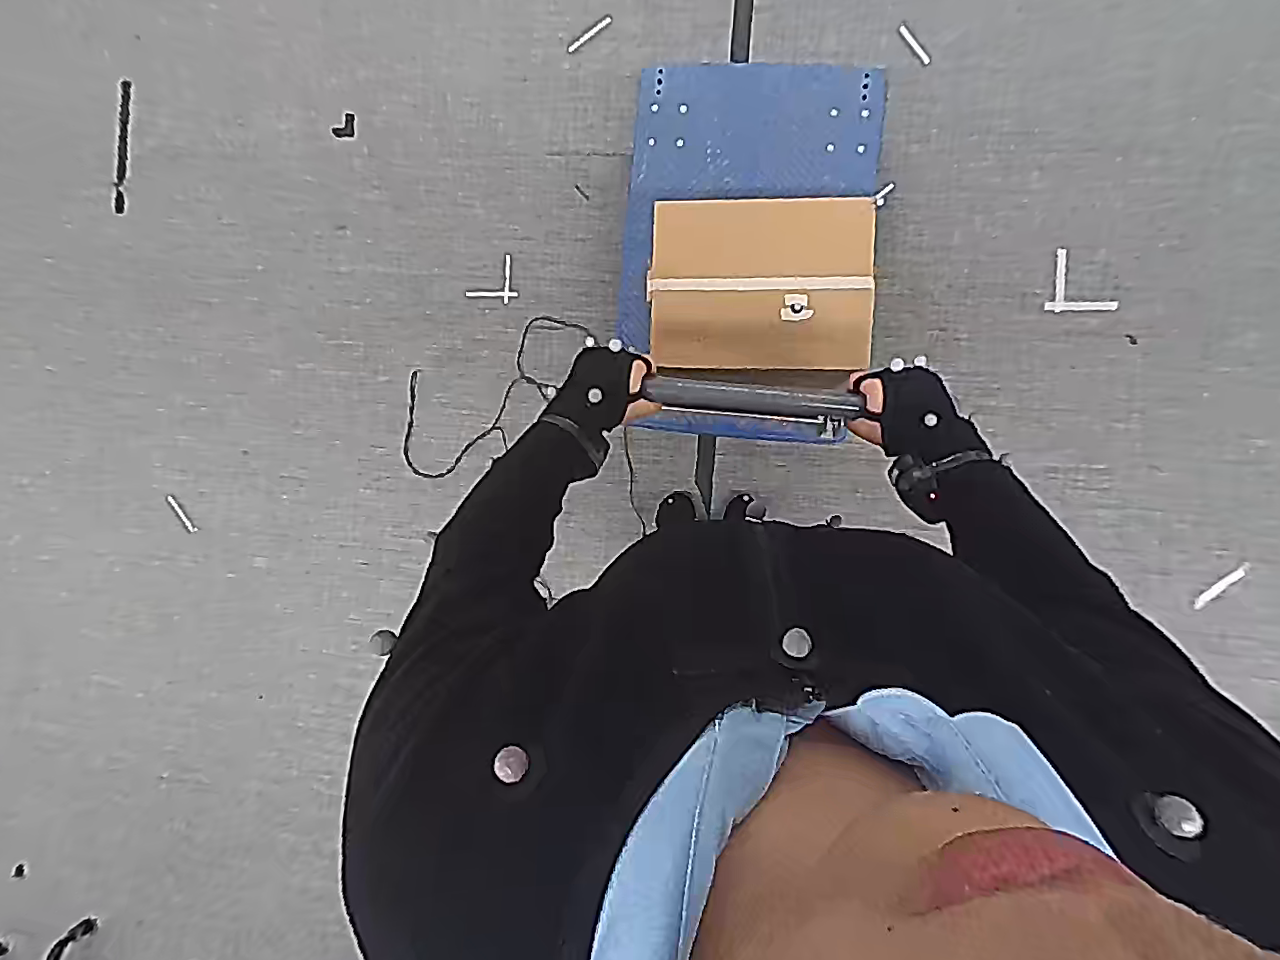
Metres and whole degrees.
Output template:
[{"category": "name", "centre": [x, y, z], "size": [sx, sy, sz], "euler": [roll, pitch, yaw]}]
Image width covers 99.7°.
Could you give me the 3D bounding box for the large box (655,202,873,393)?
[{"category": "large box", "centre": [0.239, -0.363, 1.159], "size": [0.408, 0.320, 0.320], "euler": [2, 93, 5]}]
